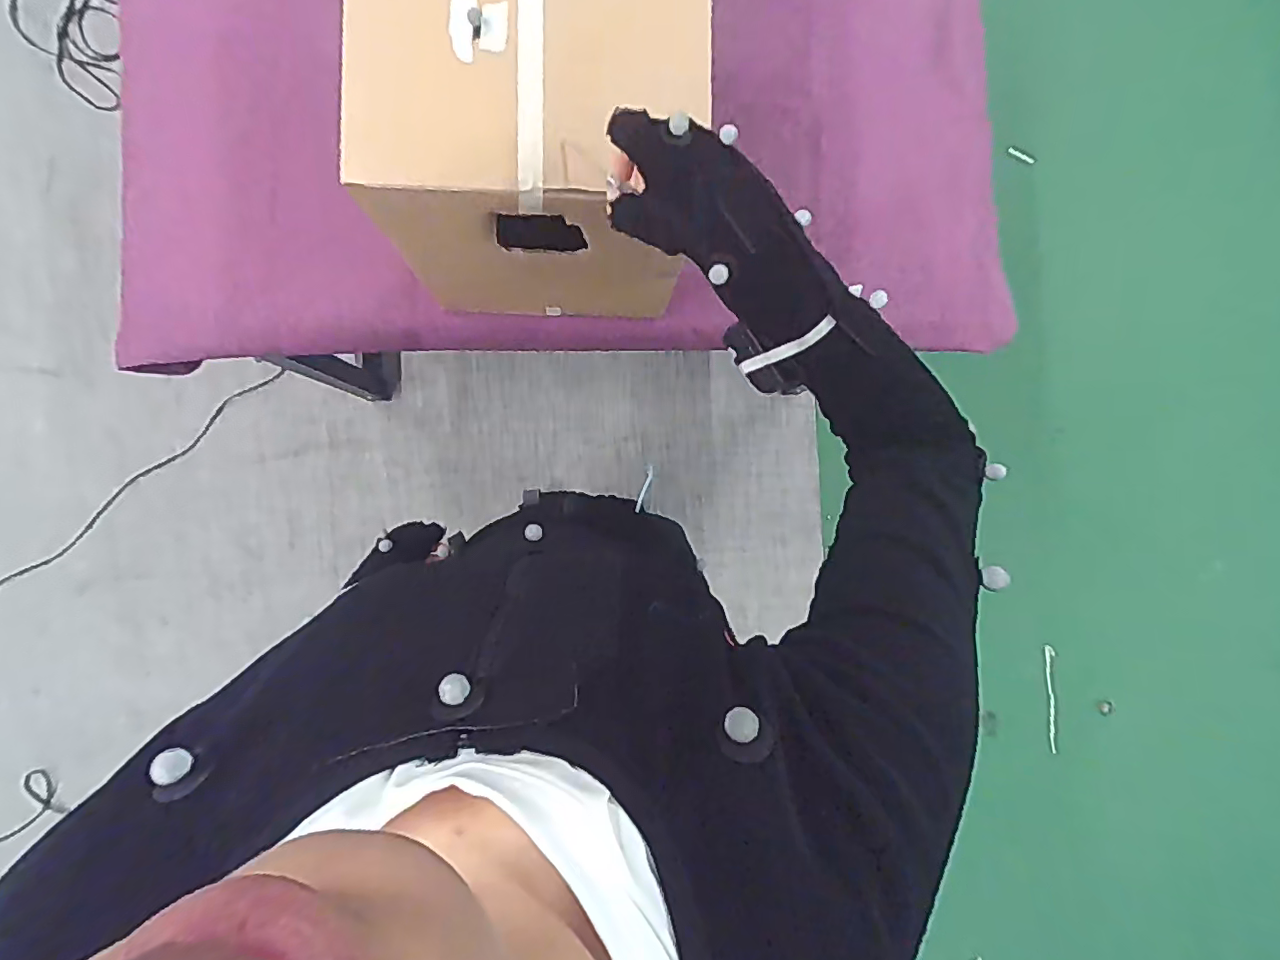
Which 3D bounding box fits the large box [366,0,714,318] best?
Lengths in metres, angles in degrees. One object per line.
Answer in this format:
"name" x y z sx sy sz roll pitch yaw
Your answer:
"large box" -0.101 -0.441 0.633 0.320 0.320 0.408 1 89 -5
